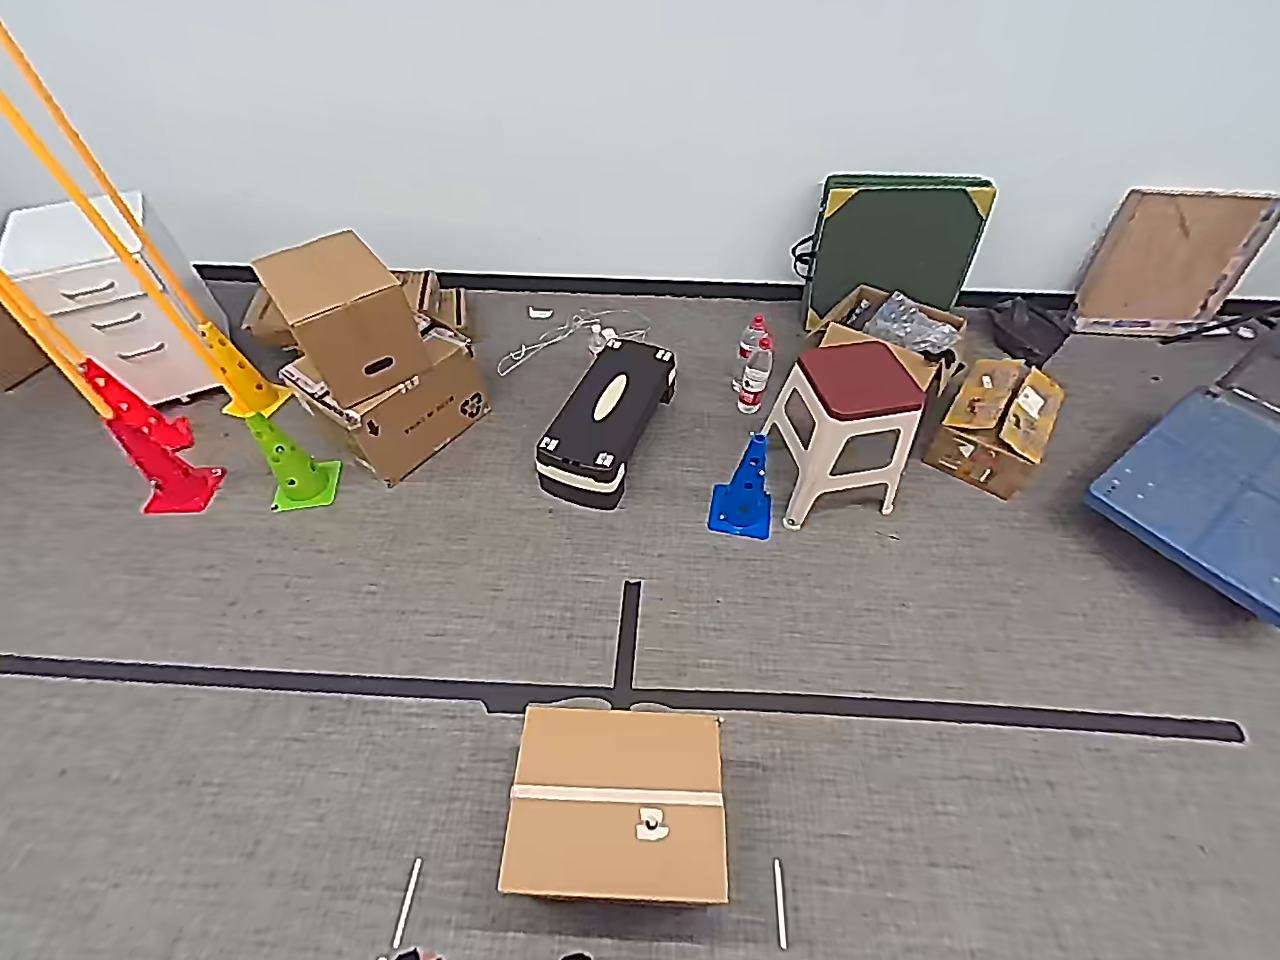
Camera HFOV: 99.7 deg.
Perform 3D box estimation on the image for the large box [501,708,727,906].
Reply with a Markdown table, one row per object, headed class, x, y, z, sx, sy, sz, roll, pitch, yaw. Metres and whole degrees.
| class | x | y | z | sx | sy | sz | roll | pitch | yaw |
| --- | --- | --- | --- | --- | --- | --- | --- | --- | --- |
| large box | -0.048 | 0.699 | 1.148 | 0.408 | 0.320 | 0.320 | 3 | 51 | 0 |
